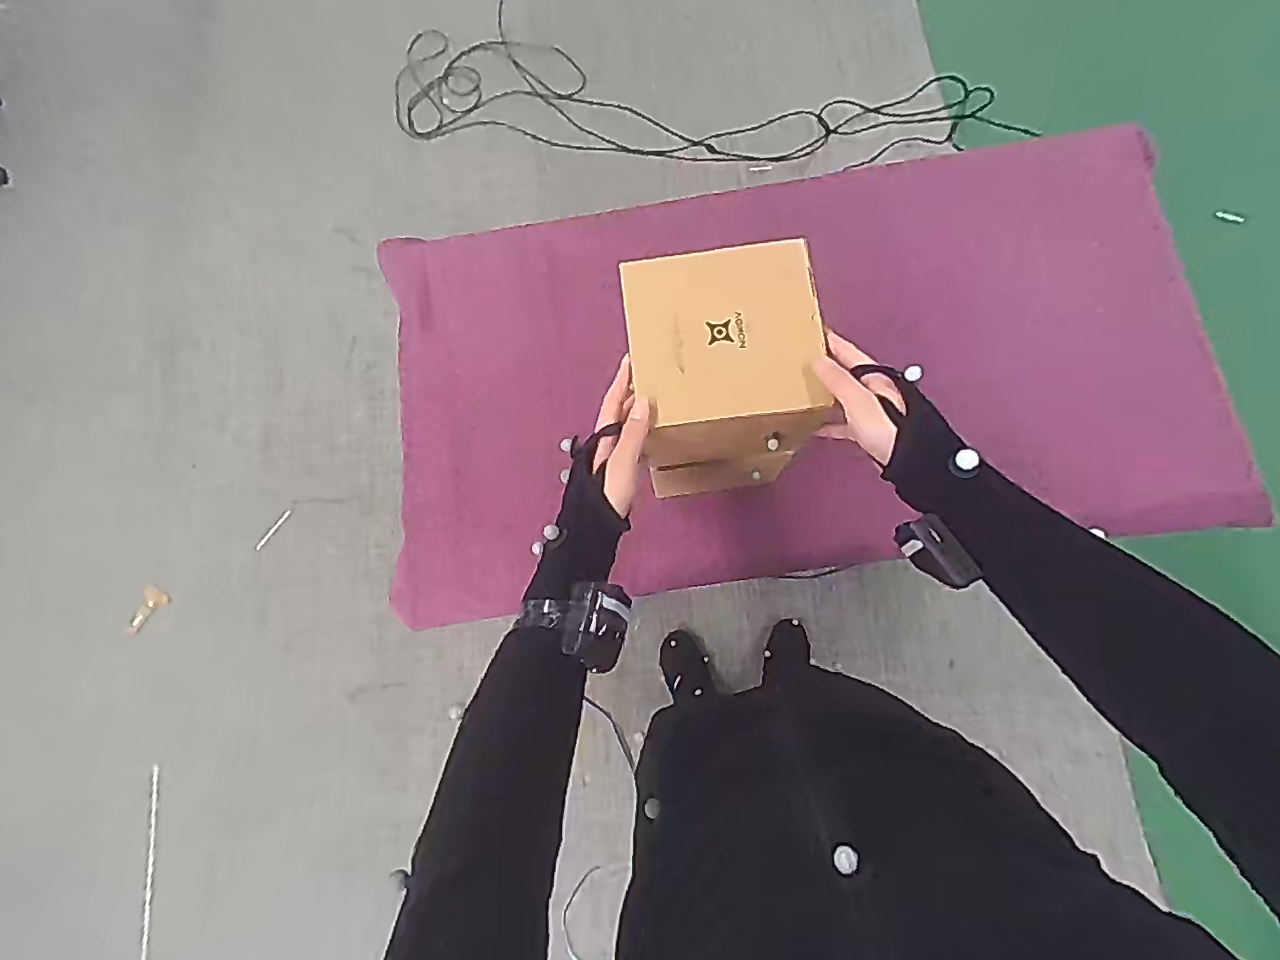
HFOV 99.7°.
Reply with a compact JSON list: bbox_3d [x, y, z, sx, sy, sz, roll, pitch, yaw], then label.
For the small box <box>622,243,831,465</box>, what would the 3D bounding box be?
[{"bbox_3d":[0.080,-0.118,0.568,0.179,0.176,0.168,-6,78,4],"label":"small box"}]
